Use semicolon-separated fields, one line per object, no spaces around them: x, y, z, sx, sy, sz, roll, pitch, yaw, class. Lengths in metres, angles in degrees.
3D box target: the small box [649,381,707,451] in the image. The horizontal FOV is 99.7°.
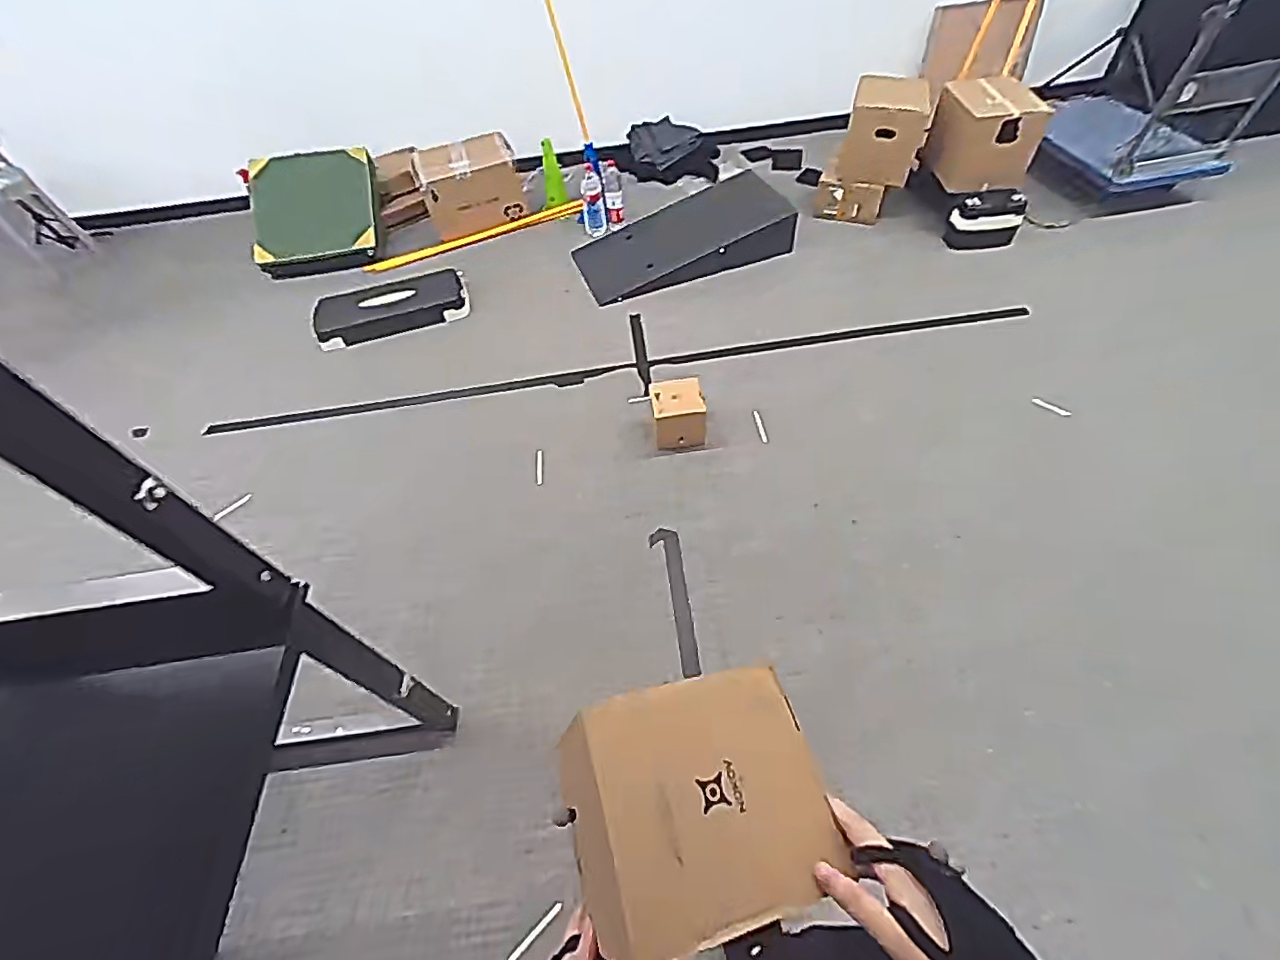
0.128;-0.220;1.882;0.179;0.176;0.168;-7;53;-1;small box
